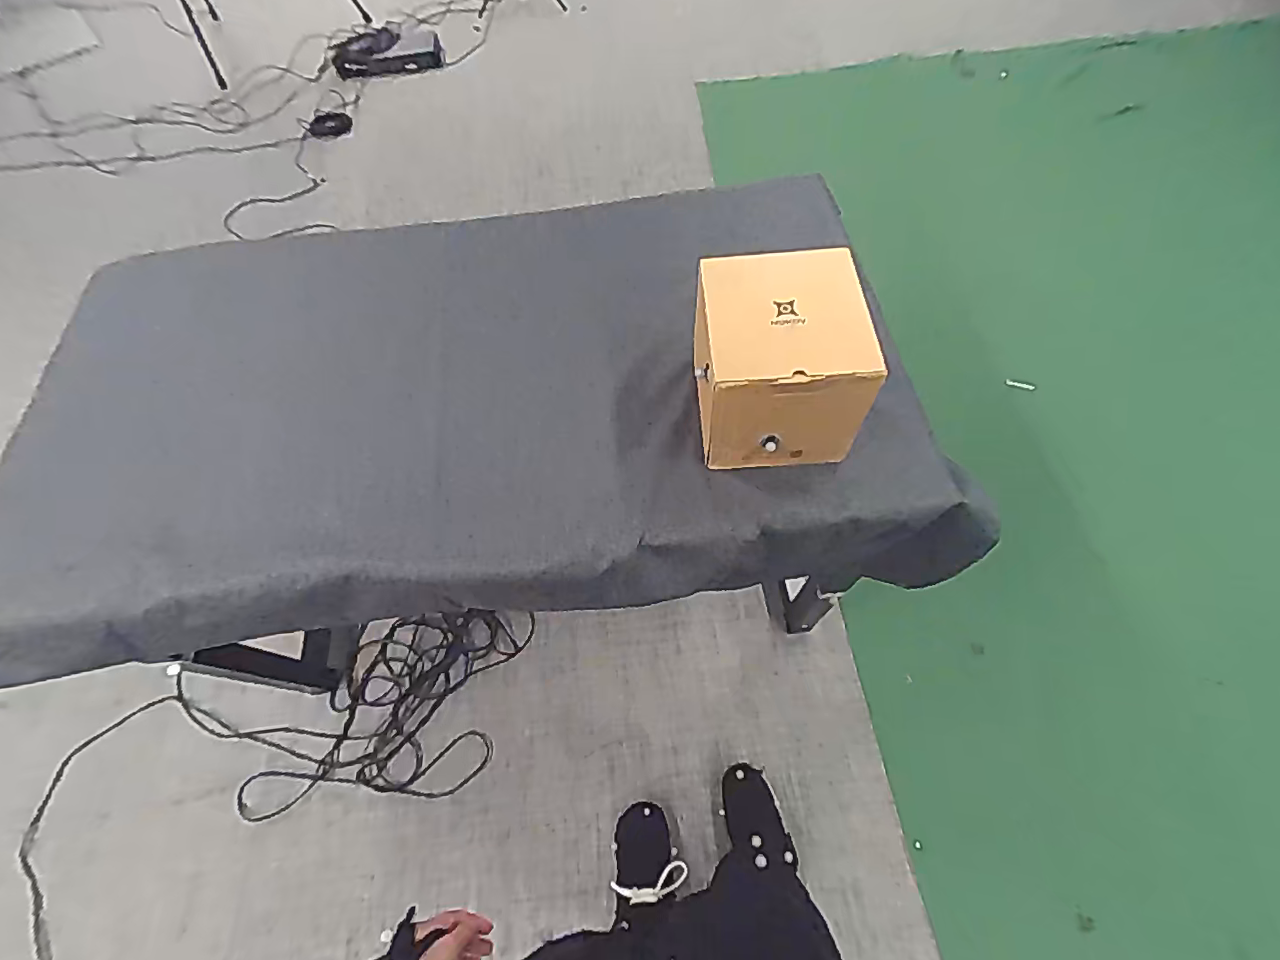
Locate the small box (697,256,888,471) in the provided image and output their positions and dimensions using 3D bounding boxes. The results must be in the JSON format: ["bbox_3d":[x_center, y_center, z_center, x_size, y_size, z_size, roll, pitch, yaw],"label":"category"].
[{"bbox_3d":[0.157,-0.129,0.626,0.168,0.176,0.179,-4,61,2],"label":"small box"}]
